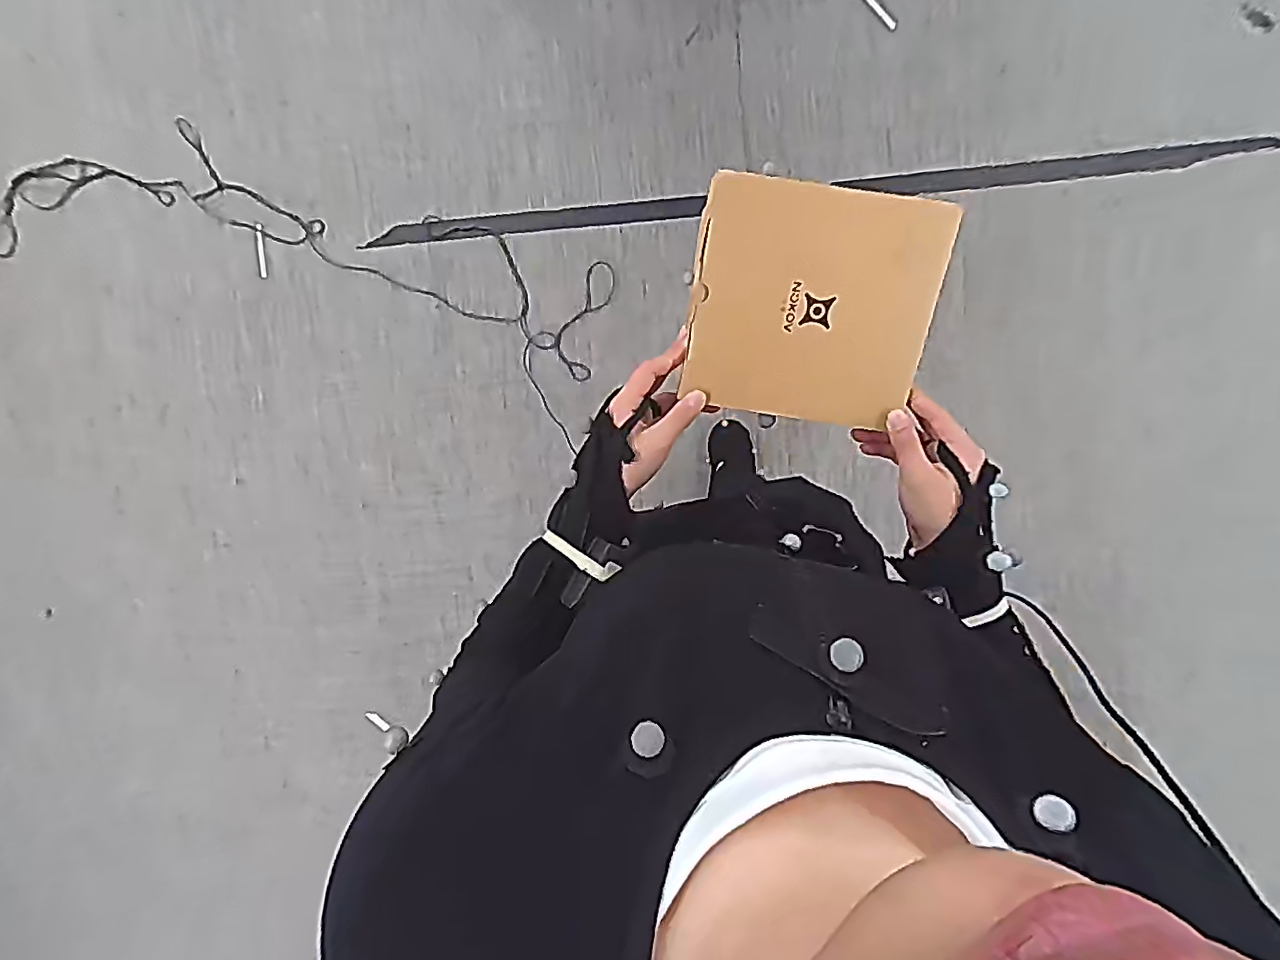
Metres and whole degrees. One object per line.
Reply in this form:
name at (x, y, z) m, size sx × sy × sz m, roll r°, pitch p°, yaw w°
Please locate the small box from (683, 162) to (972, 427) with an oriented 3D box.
small box at (0.135, -0.154, 0.468) m, size 0.179 × 0.176 × 0.168 m, roll 9°, pitch 108°, yaw 2°
